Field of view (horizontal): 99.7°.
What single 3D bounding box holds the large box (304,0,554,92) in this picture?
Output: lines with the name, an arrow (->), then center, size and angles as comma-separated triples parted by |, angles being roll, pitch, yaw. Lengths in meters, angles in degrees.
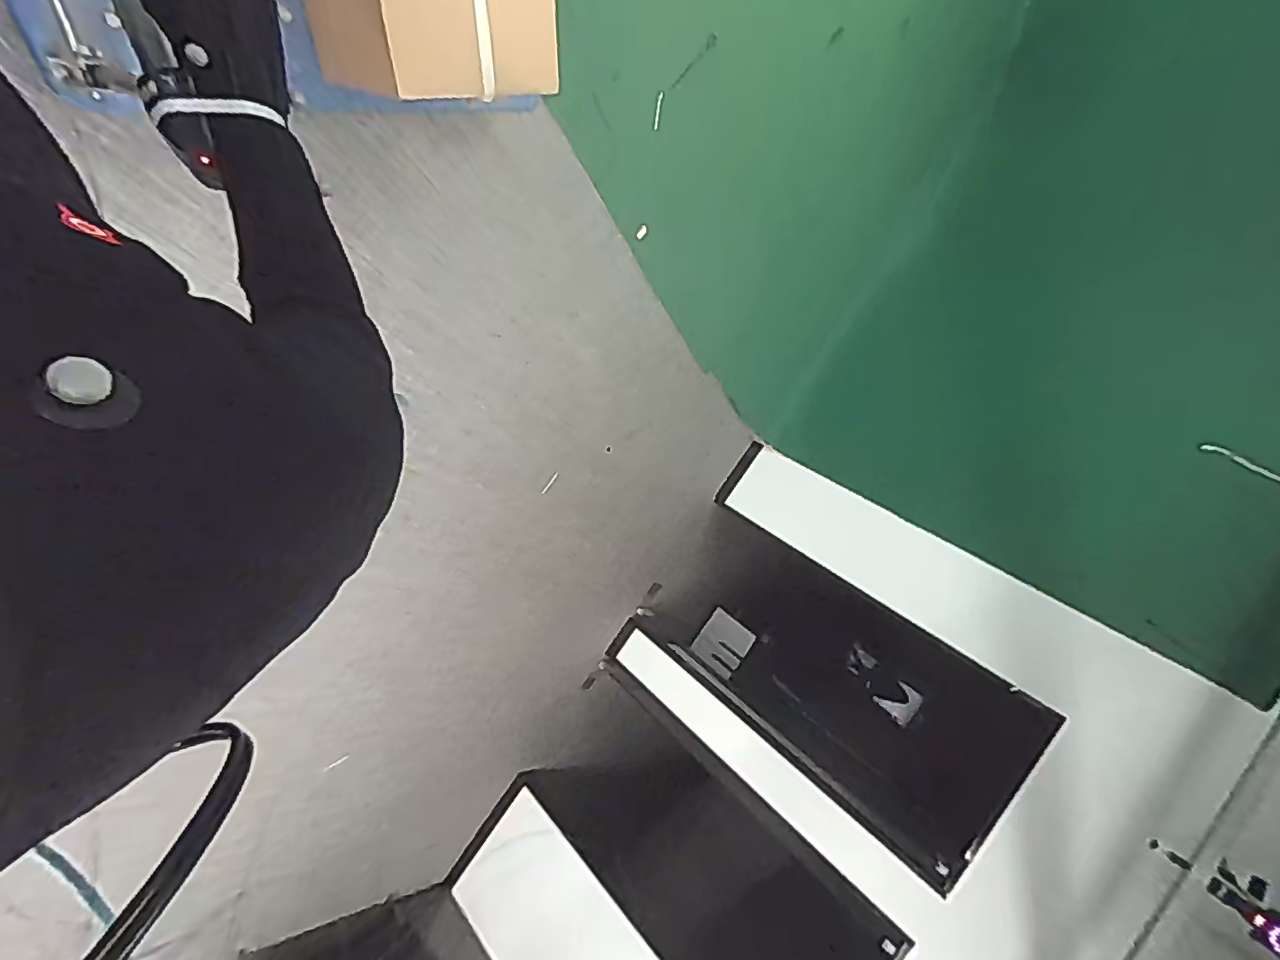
large box -> -0.369, -0.892, 0.878 | 0.320, 0.320, 0.408 | -31, 140, -34
